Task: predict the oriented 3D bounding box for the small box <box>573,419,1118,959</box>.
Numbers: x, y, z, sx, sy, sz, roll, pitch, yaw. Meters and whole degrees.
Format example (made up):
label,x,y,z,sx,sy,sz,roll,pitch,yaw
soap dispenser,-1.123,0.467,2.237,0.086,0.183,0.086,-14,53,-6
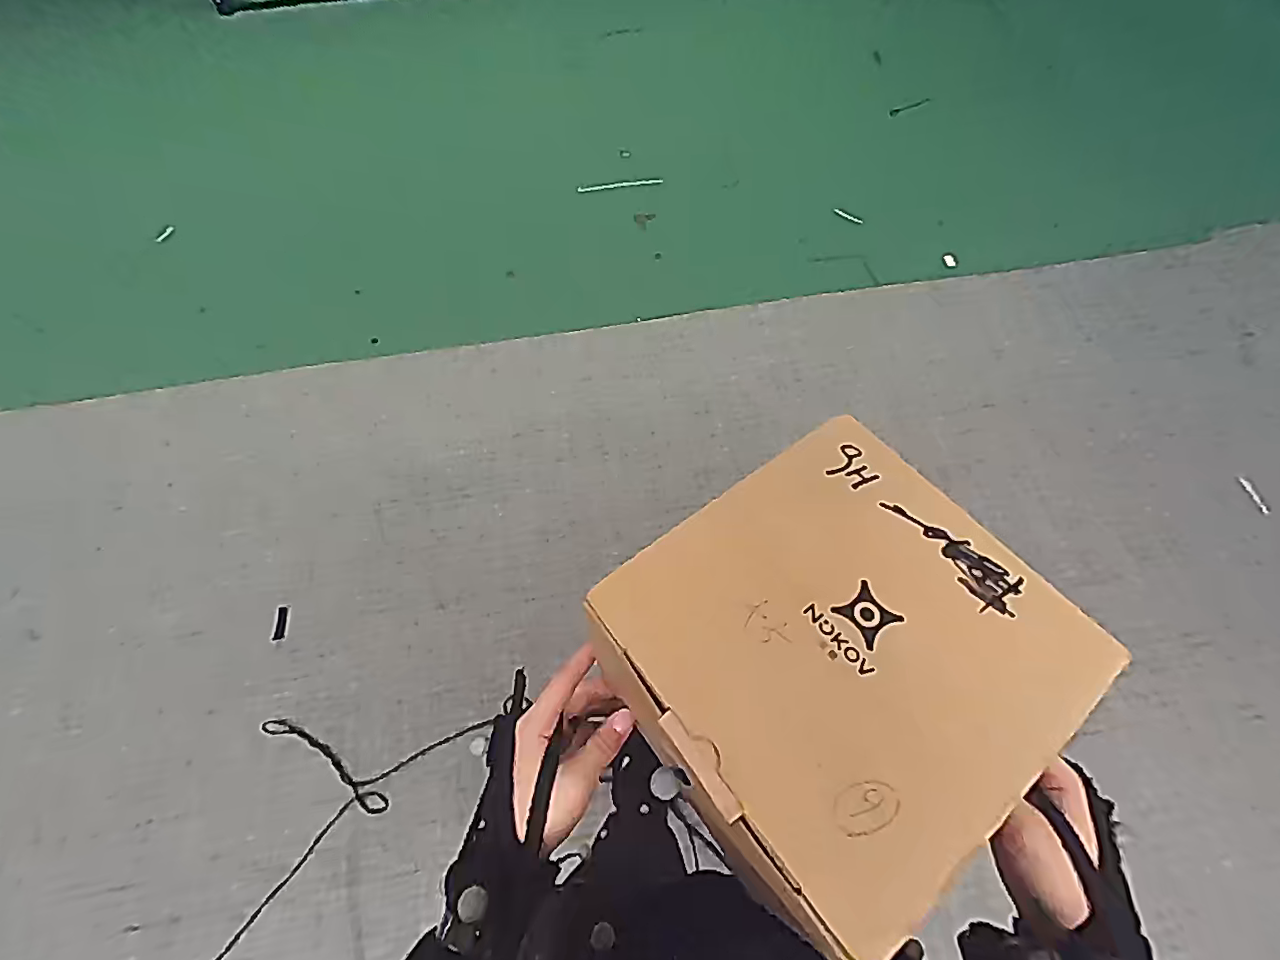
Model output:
label,x,y,z,sx,sy,sz,roll,pitch,yaw
small box,0.087,0.107,0.303,0.179,0.176,0.168,-33,64,-18
